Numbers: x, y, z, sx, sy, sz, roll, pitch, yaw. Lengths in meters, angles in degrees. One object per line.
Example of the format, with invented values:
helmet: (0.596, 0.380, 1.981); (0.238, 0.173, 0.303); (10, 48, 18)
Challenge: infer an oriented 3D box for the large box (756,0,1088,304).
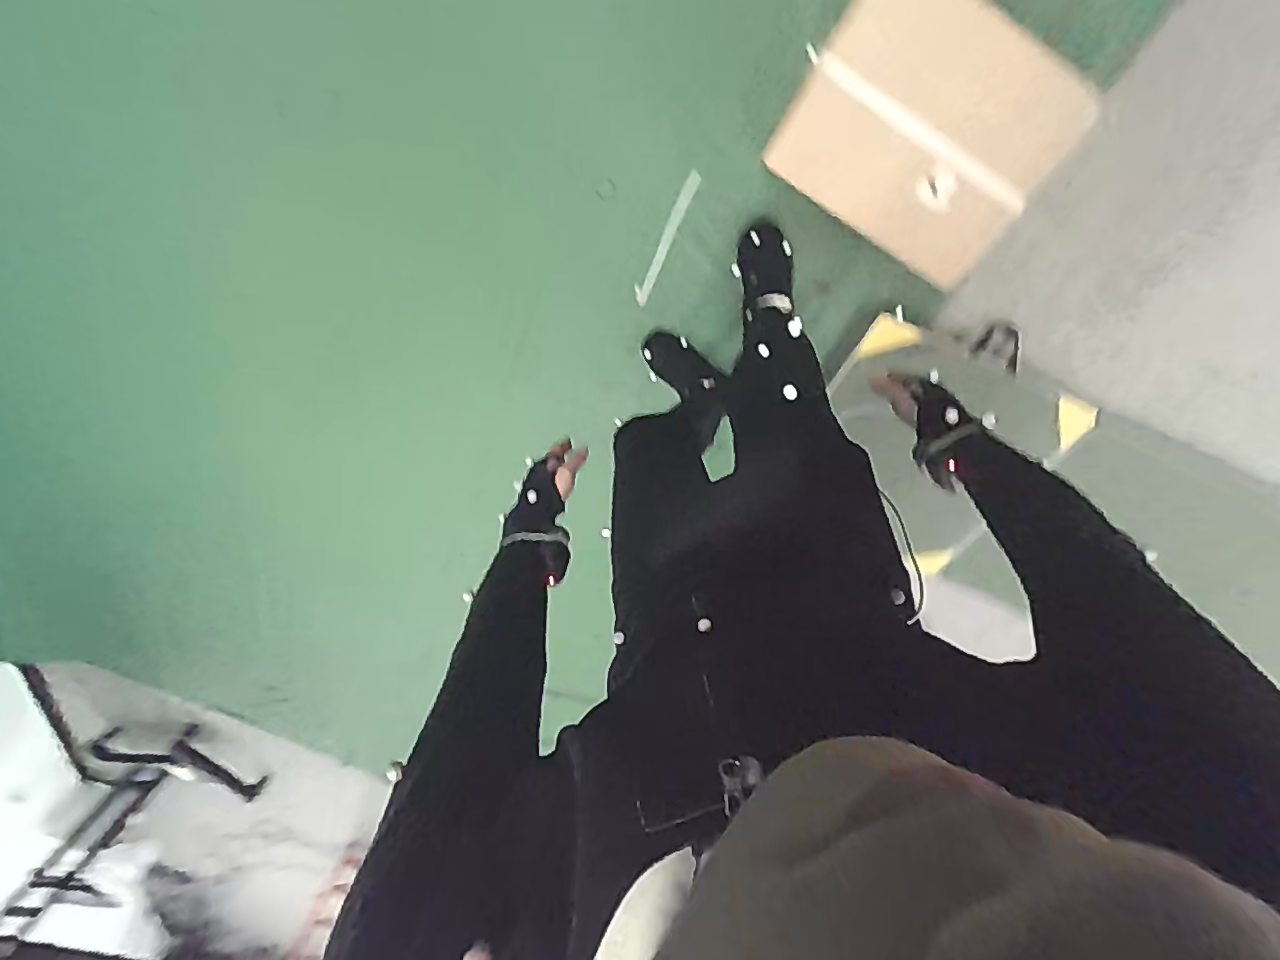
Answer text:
large box: (0.471, -0.597, 1.007); (0.408, 0.320, 0.320); (30, 123, -8)
